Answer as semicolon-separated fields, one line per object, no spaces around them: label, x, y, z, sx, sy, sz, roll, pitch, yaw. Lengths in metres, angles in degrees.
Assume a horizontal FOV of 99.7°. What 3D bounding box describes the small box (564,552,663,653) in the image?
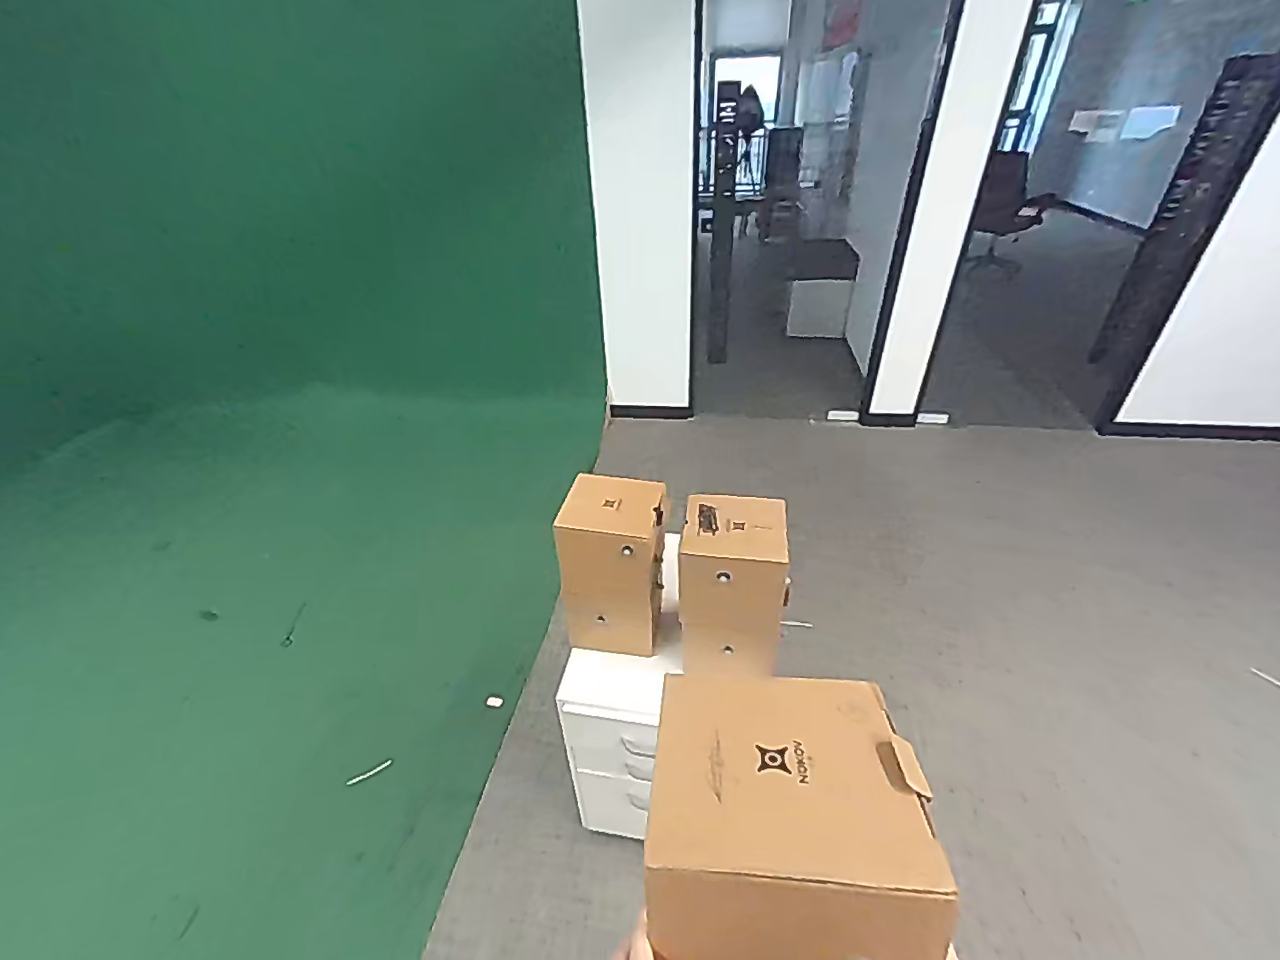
small box;-0.049;0.241;1.134;0.179;0.176;0.168;6;36;8

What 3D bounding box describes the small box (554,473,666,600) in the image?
small box;-0.051;0.109;1.037;0.179;0.176;0.168;8;36;9

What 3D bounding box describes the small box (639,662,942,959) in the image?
small box;0.099;0.265;0.416;0.179;0.176;0.168;-1;20;8

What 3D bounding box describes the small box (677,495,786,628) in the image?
small box;0.164;0.145;0.973;0.179;0.176;0.168;4;35;10
